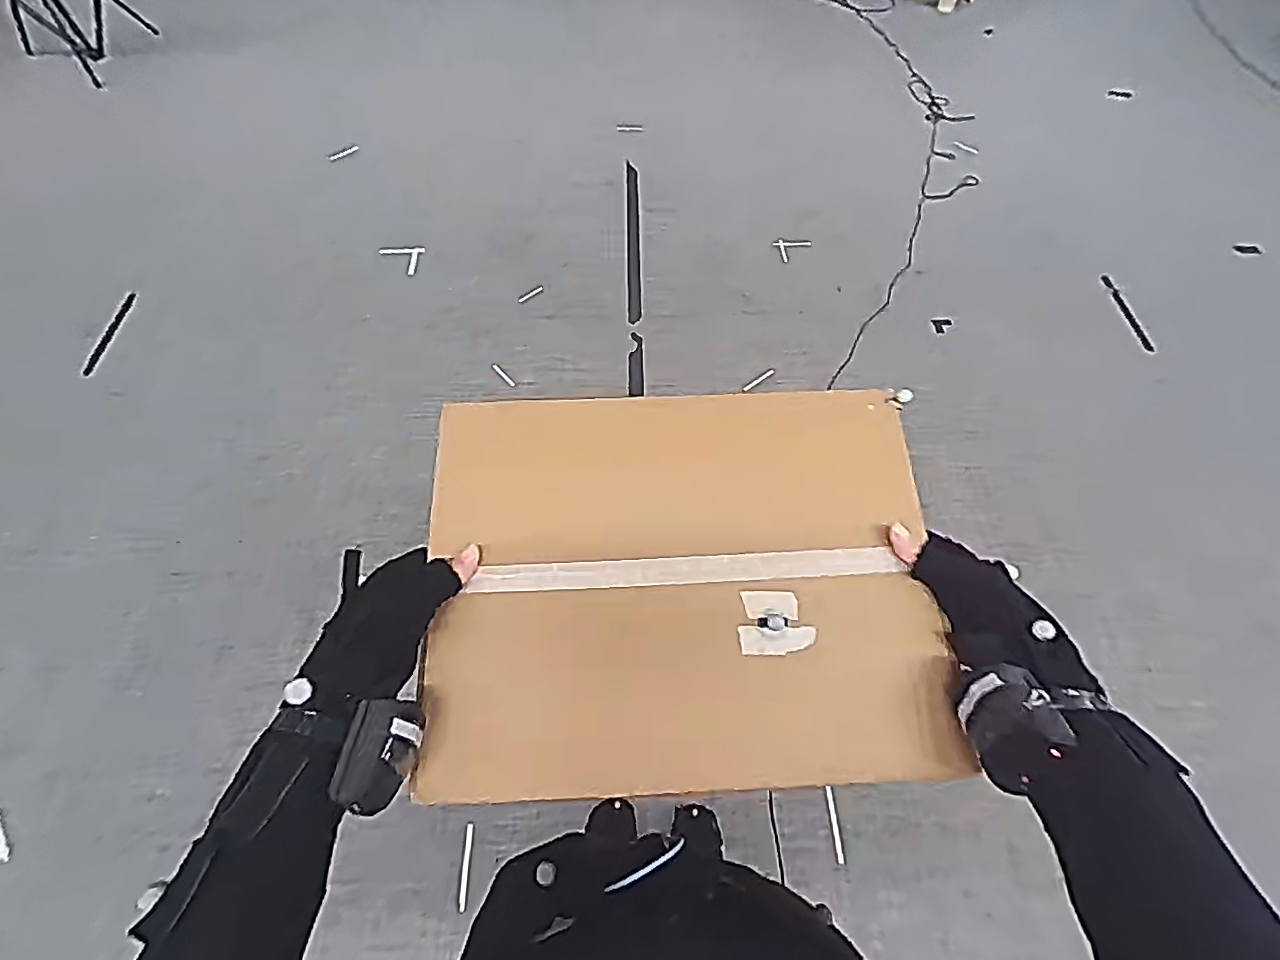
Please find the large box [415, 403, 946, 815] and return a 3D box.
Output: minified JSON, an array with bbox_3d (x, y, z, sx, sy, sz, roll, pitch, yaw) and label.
[{"bbox_3d":[0.019,0.137,0.586,0.408,0.320,0.320,-3,70,-2],"label":"large box"}]
